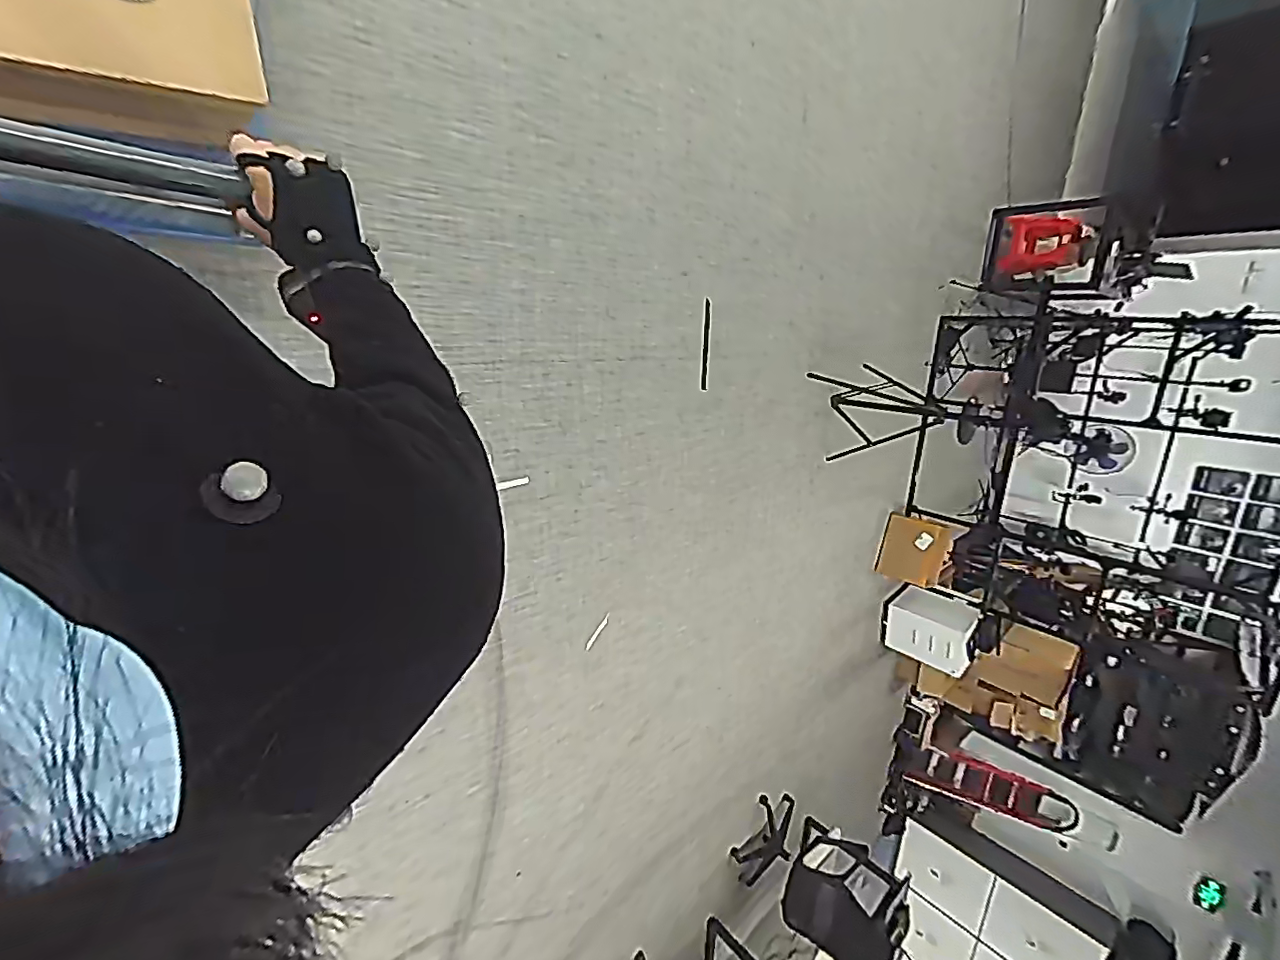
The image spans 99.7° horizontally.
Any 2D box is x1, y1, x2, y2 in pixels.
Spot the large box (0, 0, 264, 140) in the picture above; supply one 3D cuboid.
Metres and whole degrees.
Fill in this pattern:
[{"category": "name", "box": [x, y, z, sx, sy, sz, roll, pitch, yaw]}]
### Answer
[{"category": "large box", "box": [-0.804, -0.688, 0.721, 0.408, 0.320, 0.320, -18, 116, -40]}]
